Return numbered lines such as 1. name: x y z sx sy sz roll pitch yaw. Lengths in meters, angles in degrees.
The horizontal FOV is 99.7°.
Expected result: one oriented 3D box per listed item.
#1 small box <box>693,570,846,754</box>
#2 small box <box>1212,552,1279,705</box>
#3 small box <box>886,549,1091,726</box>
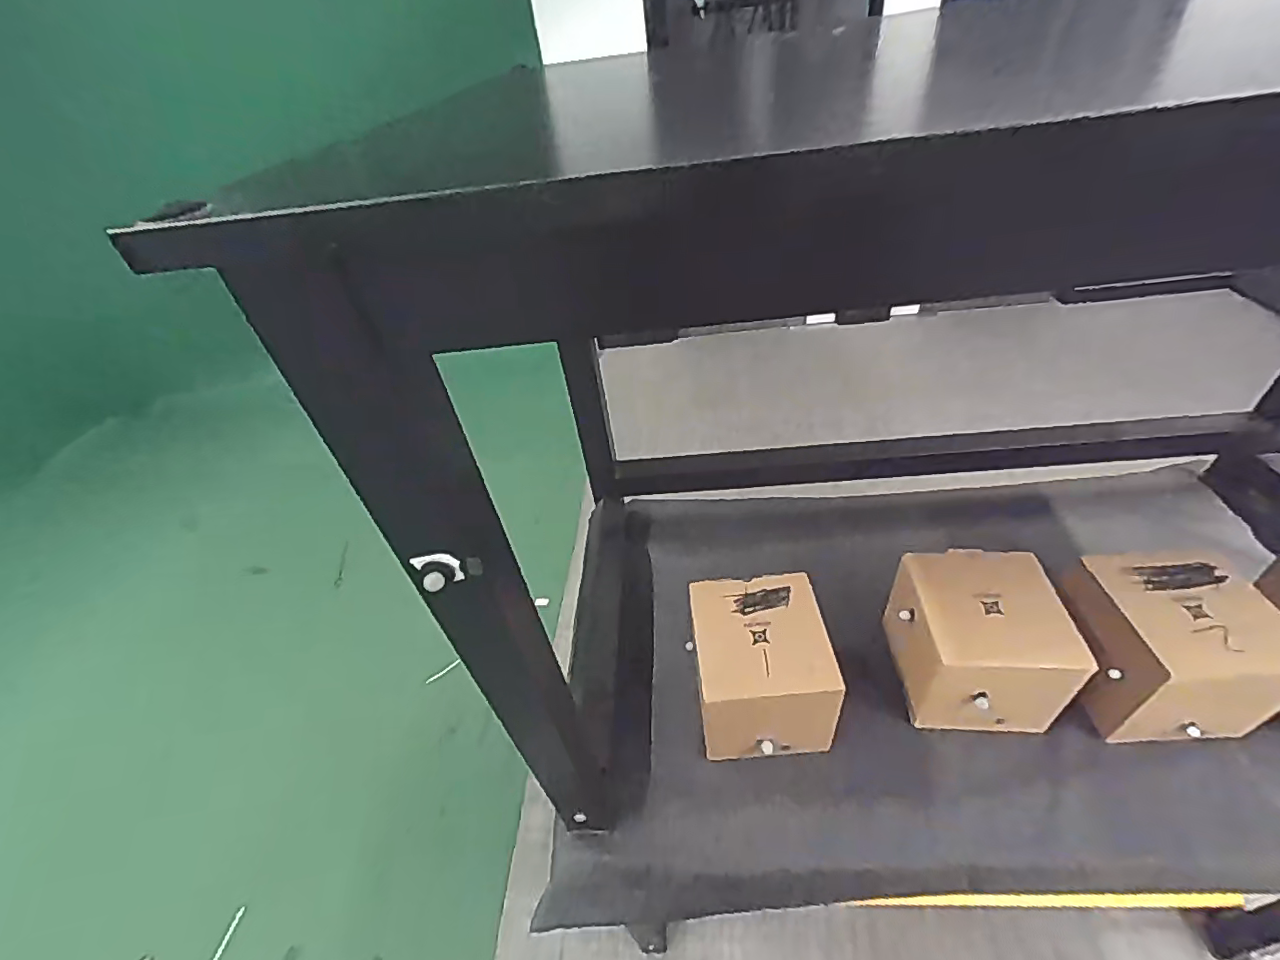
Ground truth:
1. small box: 0.164 0.249 0.744 0.168 0.176 0.179 -6 42 3
2. small box: 0.893 0.201 0.663 0.168 0.176 0.179 -5 41 4
3. small box: 0.451 0.214 0.736 0.168 0.176 0.179 -1 41 9
